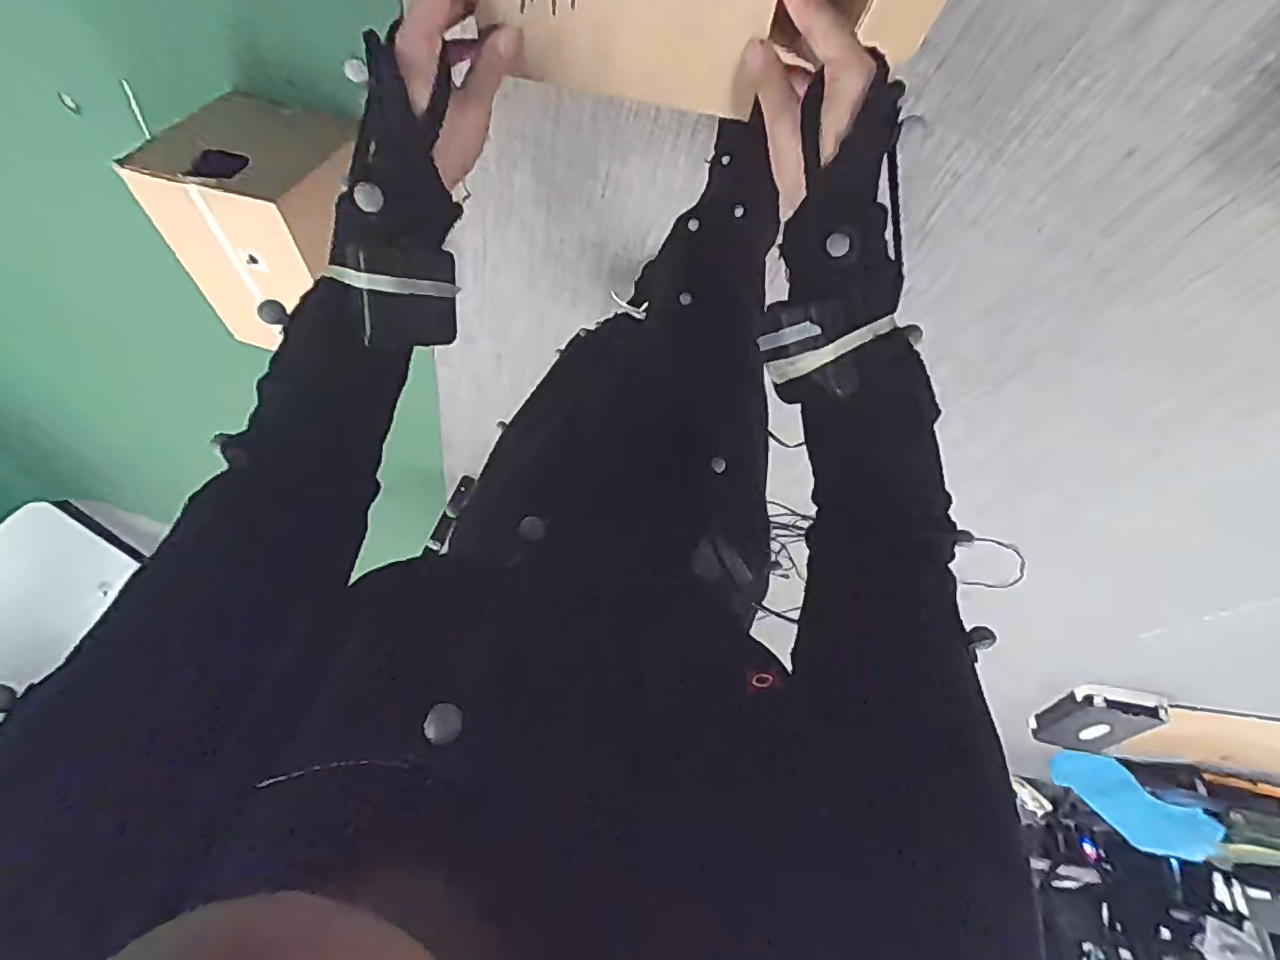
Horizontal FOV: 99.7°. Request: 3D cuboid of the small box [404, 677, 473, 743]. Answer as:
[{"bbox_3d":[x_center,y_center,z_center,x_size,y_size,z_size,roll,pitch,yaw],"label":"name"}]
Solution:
[{"bbox_3d":[-0.695,0.799,1.879,0.179,0.176,0.168,22,147,-7],"label":"small box"}]
